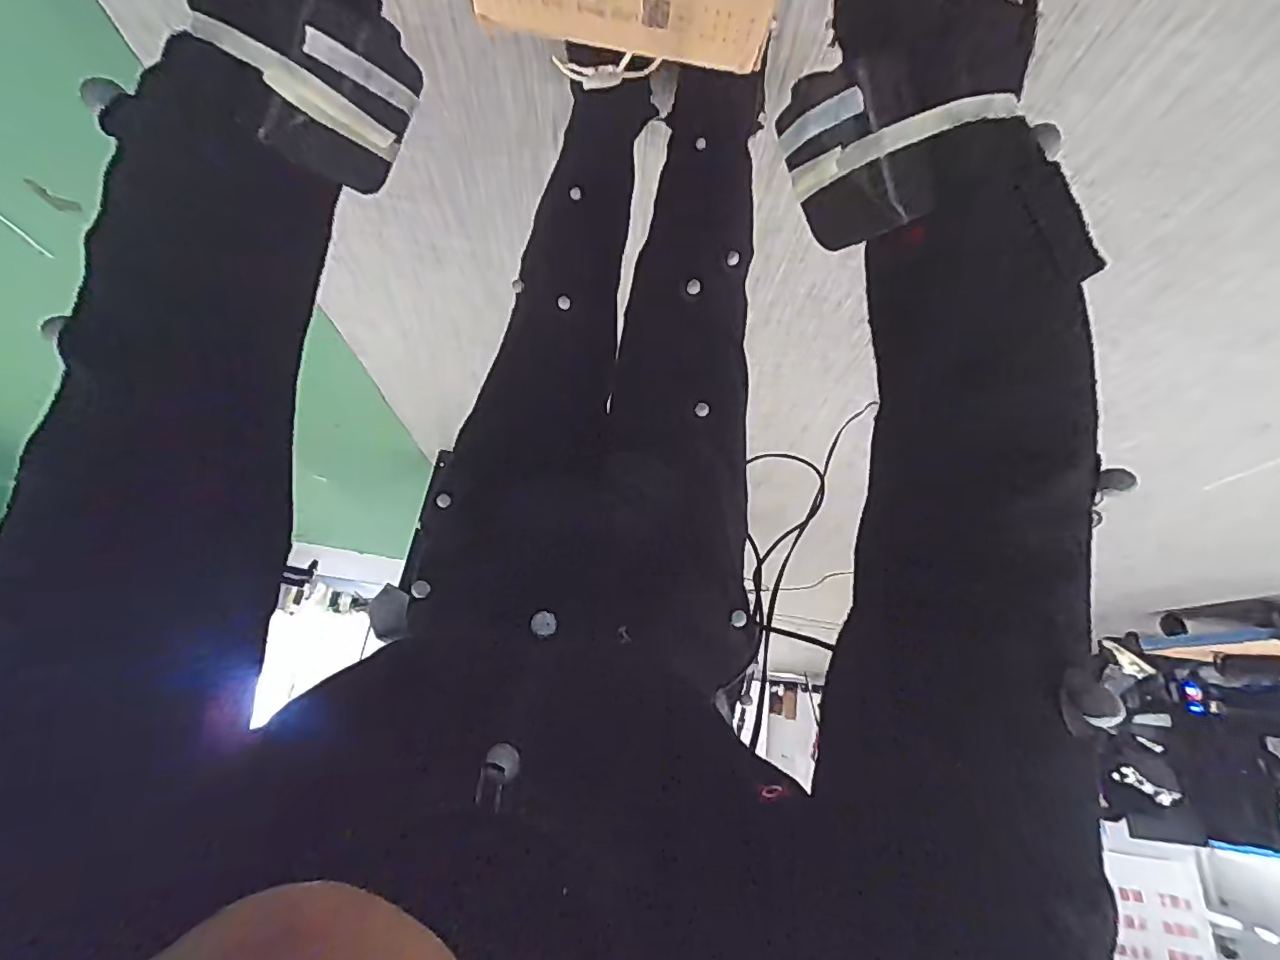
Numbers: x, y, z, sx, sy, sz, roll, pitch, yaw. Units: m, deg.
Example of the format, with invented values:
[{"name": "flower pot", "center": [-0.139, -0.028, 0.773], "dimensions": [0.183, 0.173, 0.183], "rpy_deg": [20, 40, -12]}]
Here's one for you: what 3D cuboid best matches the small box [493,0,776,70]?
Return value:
[{"name": "small box", "center": [0.006, -0.351, 0.255], "dimensions": [0.168, 0.179, 0.176], "rpy_deg": [8, 167, -2]}]
